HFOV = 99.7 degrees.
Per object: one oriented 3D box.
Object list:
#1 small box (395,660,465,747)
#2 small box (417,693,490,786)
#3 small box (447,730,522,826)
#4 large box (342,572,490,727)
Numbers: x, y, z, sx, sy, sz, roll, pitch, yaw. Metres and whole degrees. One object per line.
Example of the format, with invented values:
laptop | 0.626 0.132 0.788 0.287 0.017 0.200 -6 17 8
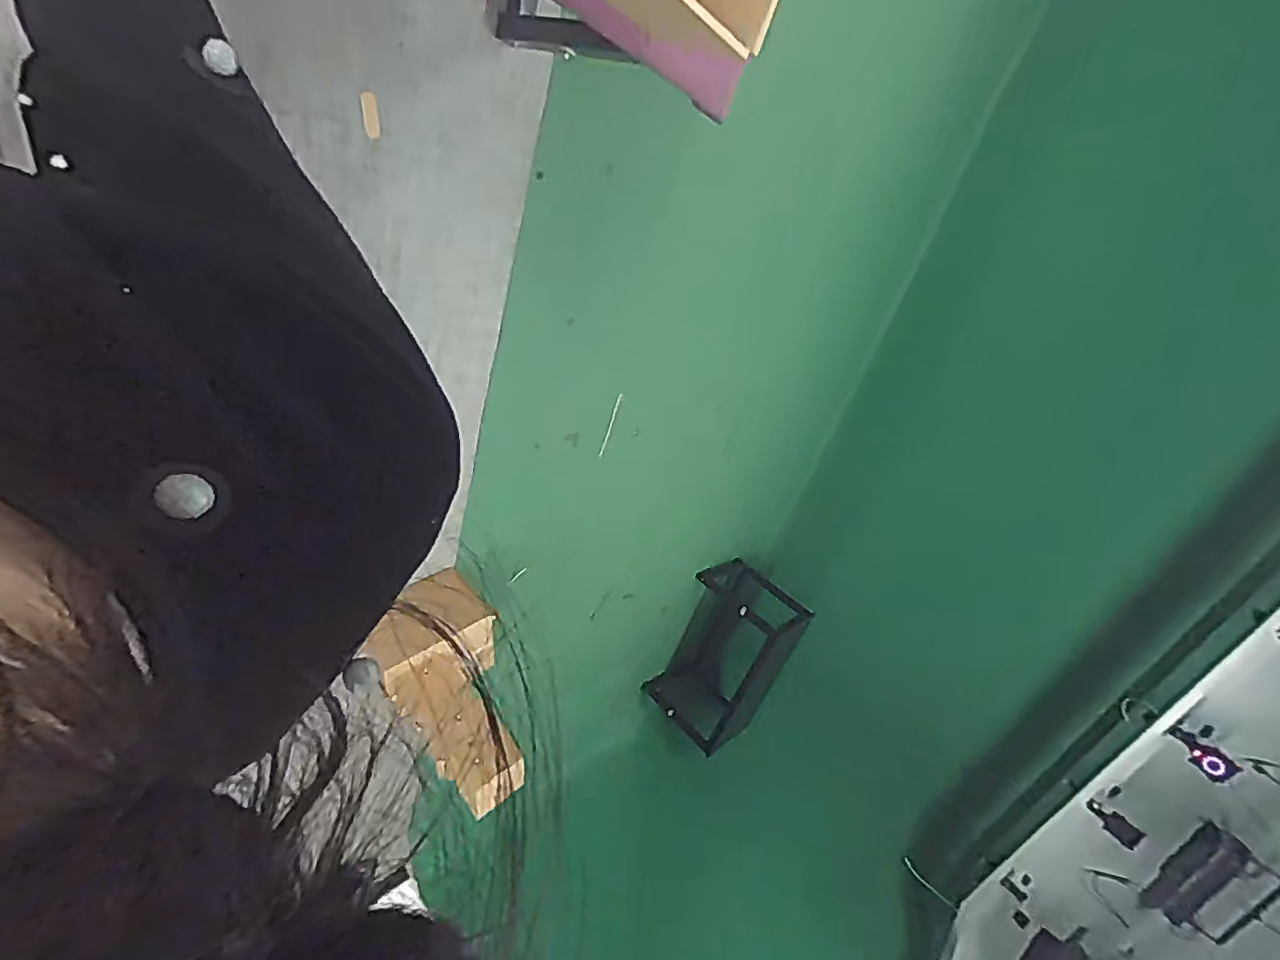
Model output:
small box | -0.719 0.756 1.843 0.179 0.176 0.168 -20 135 -41
small box | -0.606 0.836 1.754 0.179 0.176 0.168 -26 138 -39
small box | -0.484 0.912 1.676 0.168 0.176 0.179 -24 137 -39
large box | -0.828 0.622 2.036 0.408 0.320 0.320 -26 139 -39
